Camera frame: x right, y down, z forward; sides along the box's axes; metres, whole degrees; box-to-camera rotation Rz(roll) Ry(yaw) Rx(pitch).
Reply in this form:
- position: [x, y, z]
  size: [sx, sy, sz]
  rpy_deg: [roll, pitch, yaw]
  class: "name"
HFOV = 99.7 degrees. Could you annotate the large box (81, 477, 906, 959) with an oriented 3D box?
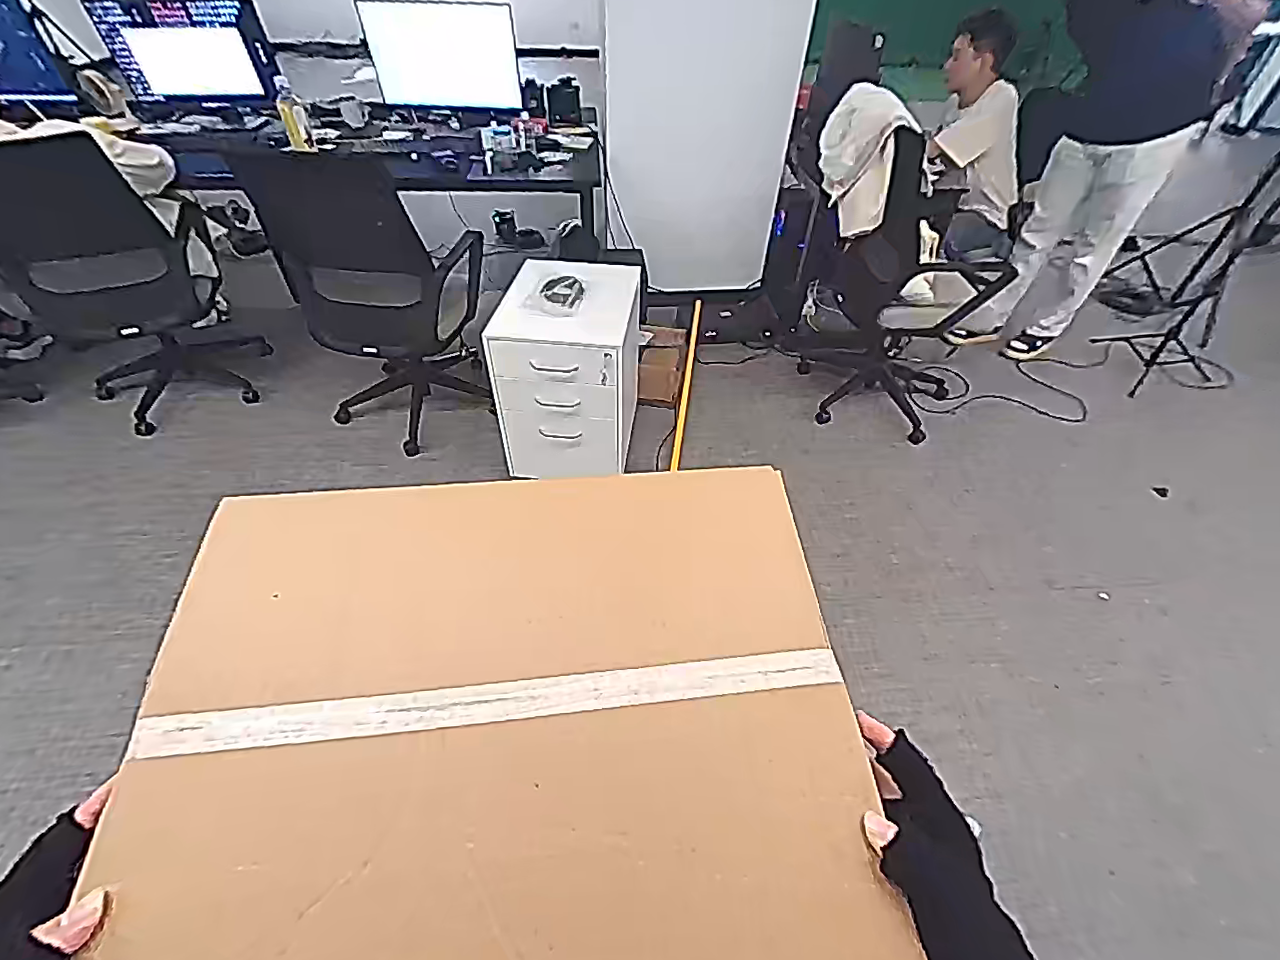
- position: [-0.084, 0.221, 0.450]
  size: [0.408, 0.320, 0.320]
  rpy_deg: [-4, 56, -6]
  class: "large box"
